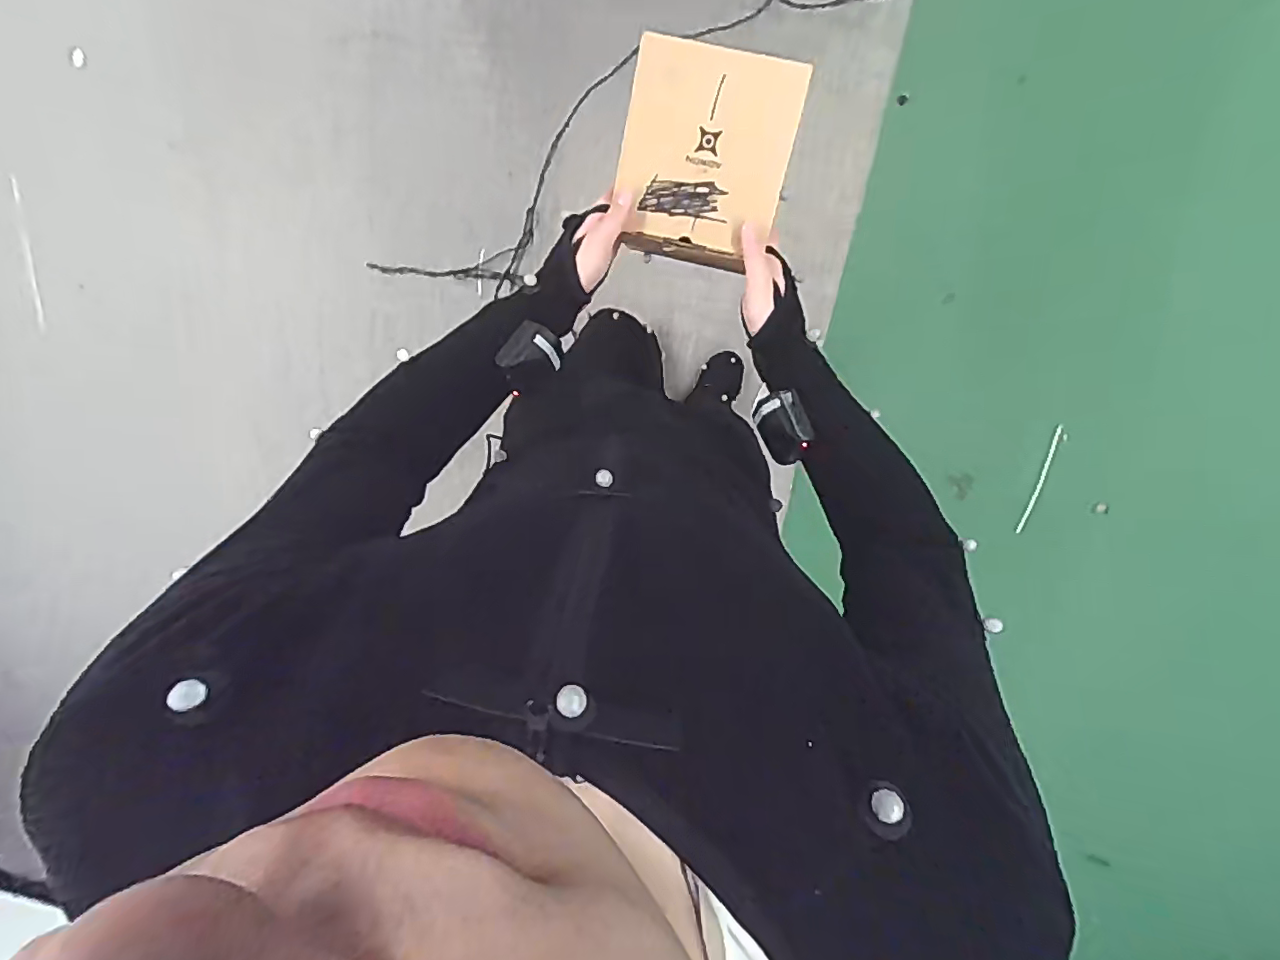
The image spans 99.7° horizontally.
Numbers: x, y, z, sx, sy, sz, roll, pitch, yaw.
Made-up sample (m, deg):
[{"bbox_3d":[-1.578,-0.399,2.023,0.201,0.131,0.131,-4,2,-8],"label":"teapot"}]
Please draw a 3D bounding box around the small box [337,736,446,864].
[{"bbox_3d":[-0.574,0.738,1.265,0.168,0.176,0.179,15,109,4],"label":"small box"}]

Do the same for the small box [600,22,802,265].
[{"bbox_3d":[0.063,-0.351,0.604,0.168,0.176,0.179,13,106,1],"label":"small box"}]
